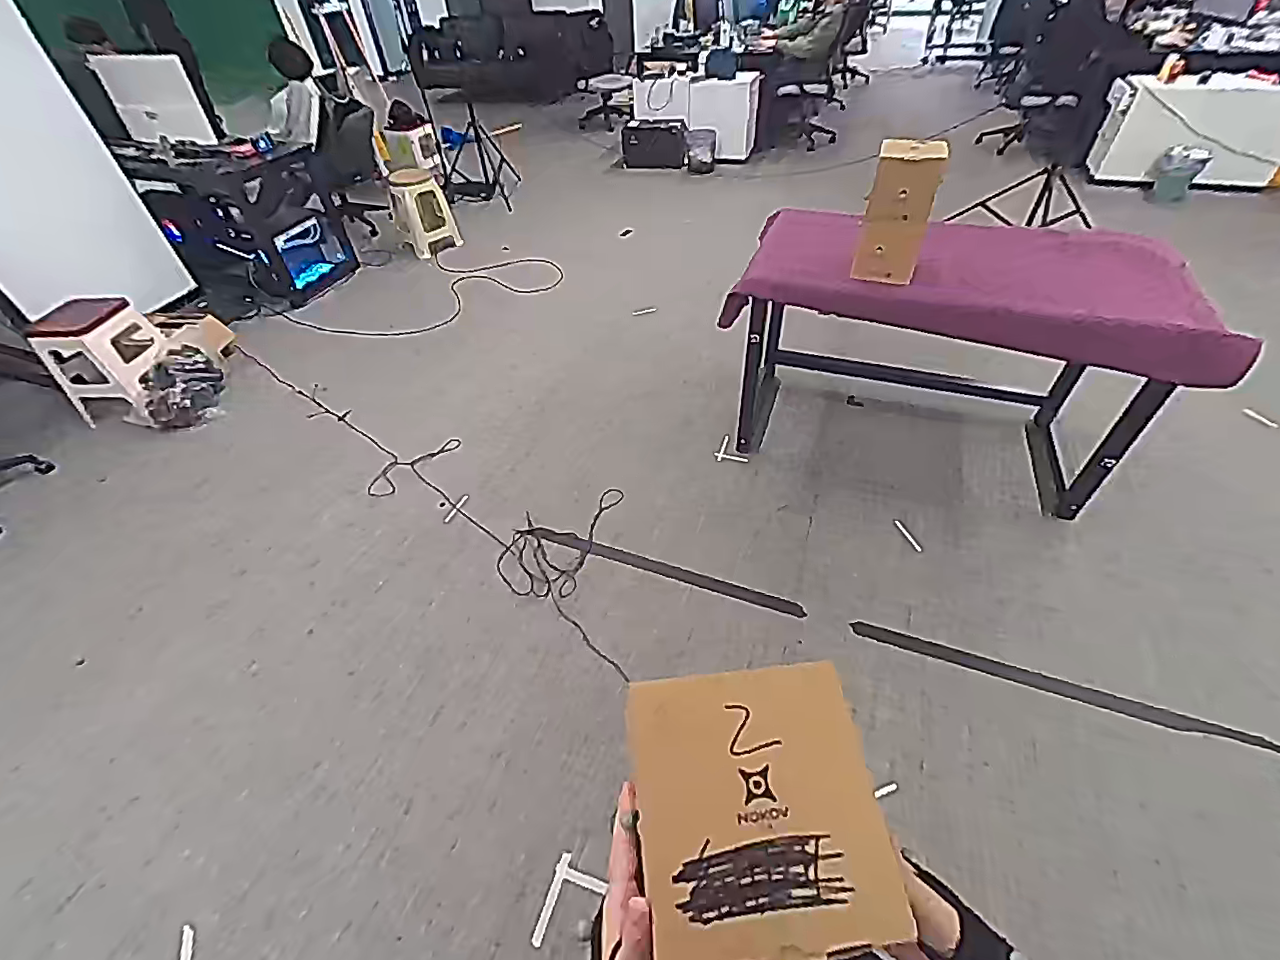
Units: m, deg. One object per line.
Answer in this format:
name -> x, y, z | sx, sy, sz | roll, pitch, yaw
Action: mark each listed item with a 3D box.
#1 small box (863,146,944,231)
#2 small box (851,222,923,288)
small box -> 0.732, -0.813, 1.508 | 0.168, 0.176, 0.179 | 14, 47, 16
small box -> 0.740, -0.693, 1.619 | 0.168, 0.176, 0.179 | 14, 47, 17
